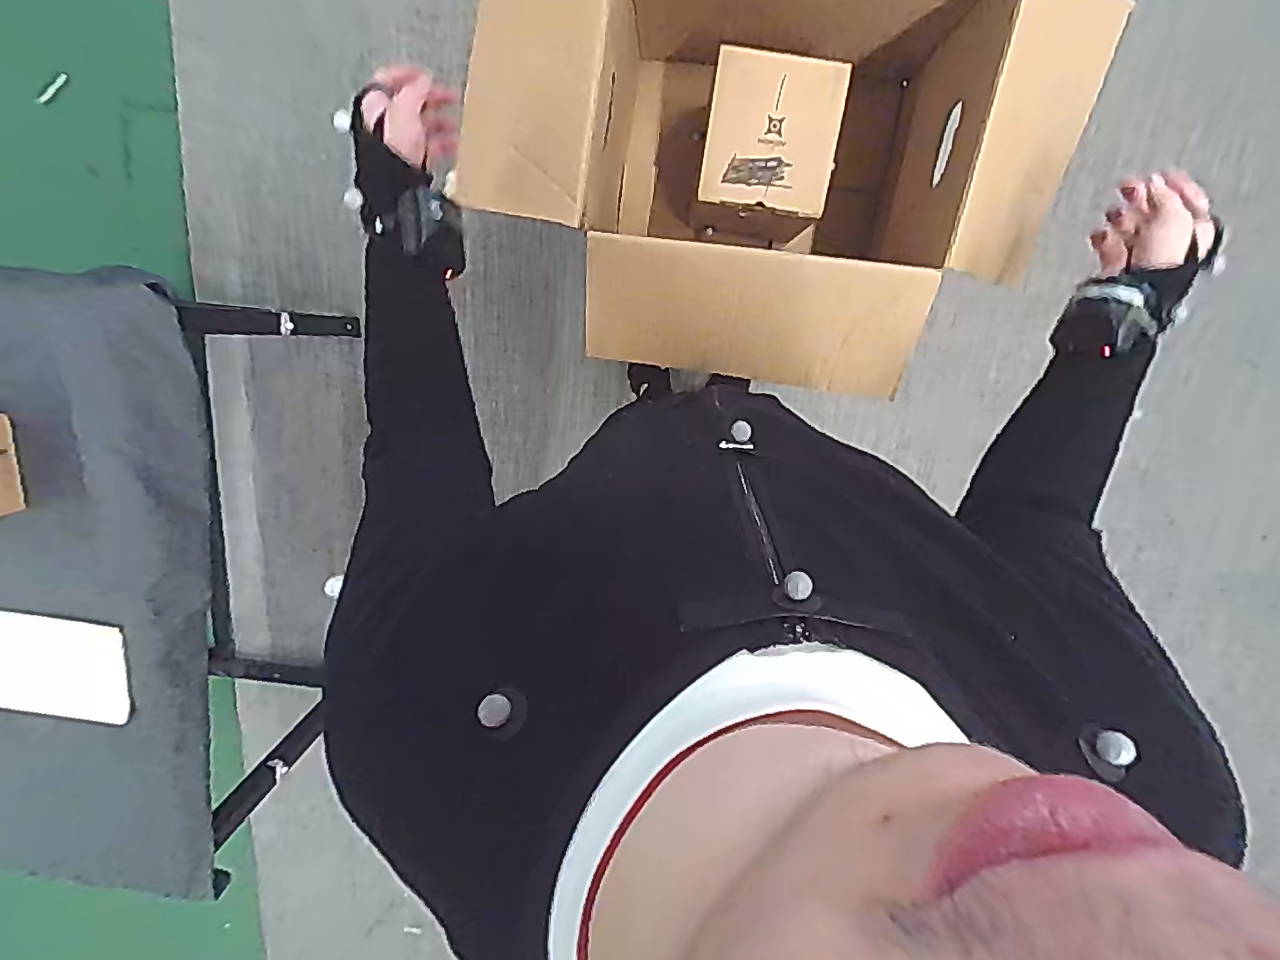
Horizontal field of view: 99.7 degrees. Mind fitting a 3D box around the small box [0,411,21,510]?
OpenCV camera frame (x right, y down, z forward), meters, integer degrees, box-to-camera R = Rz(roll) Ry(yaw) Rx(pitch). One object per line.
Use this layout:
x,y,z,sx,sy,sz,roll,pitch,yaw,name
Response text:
-1.115,-0.024,0.823,0.179,0.176,0.168,6,105,0,small box
